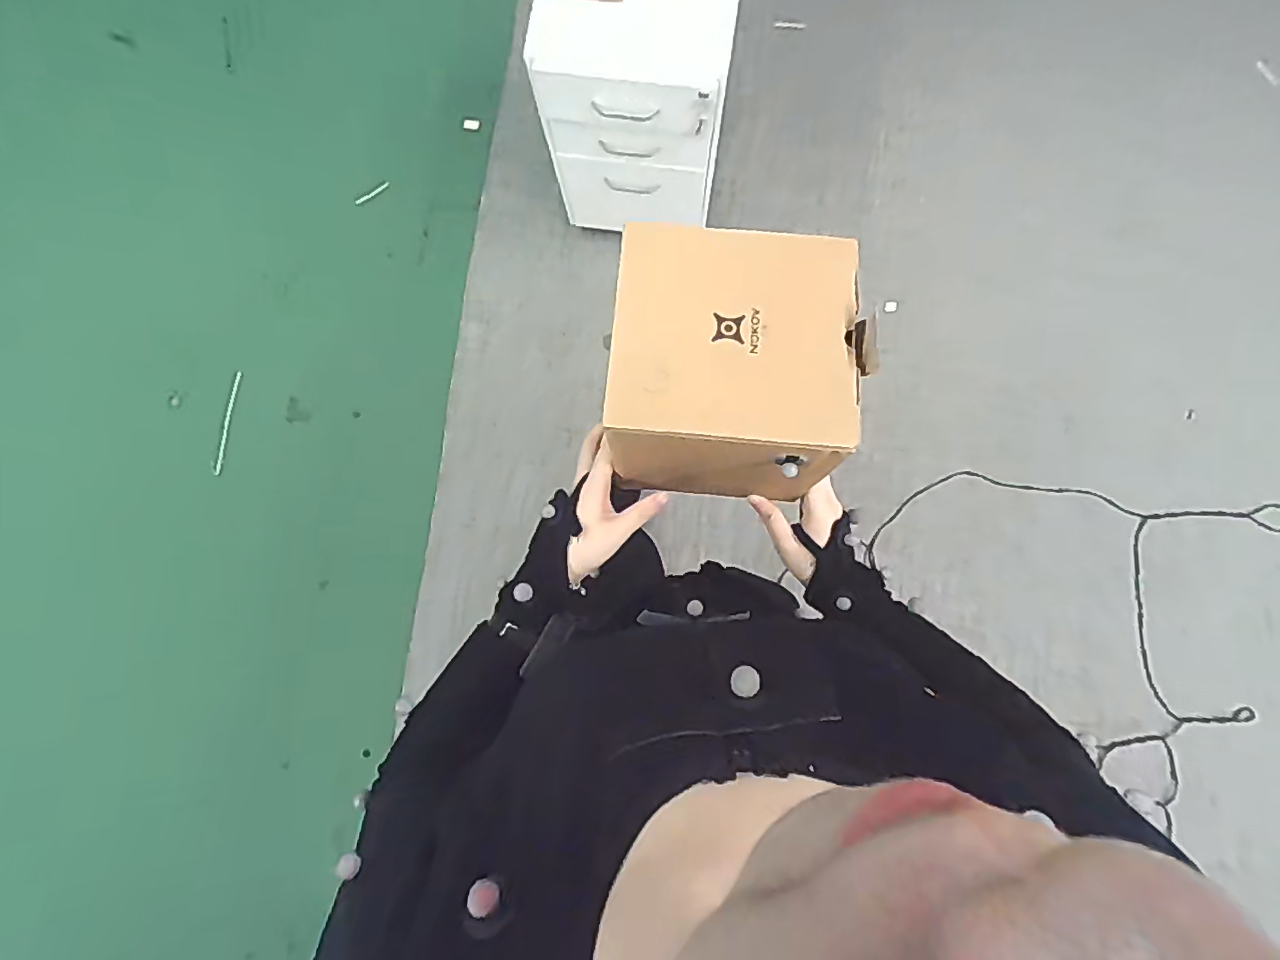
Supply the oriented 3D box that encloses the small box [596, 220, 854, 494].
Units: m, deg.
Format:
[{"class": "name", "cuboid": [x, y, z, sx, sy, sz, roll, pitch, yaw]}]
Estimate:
[{"class": "small box", "cuboid": [0.064, -0.089, 0.459, 0.179, 0.176, 0.168, 5, 76, 1]}]
